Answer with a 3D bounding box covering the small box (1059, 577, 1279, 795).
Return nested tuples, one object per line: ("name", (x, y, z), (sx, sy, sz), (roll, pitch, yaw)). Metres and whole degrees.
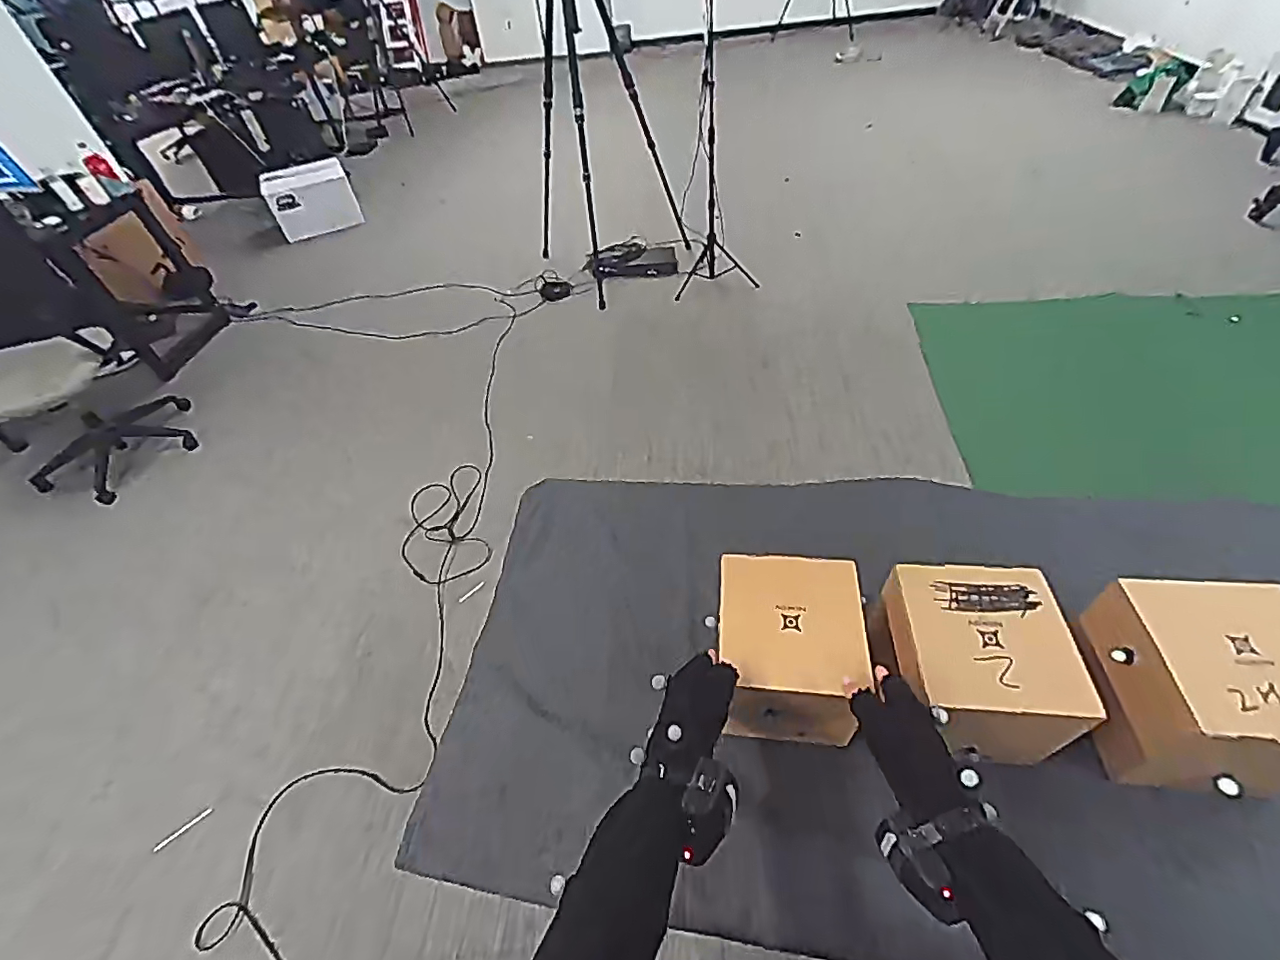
("small box", (0.626, 0.232, 0.614), (0.168, 0.176, 0.179), (0, 47, 10))
